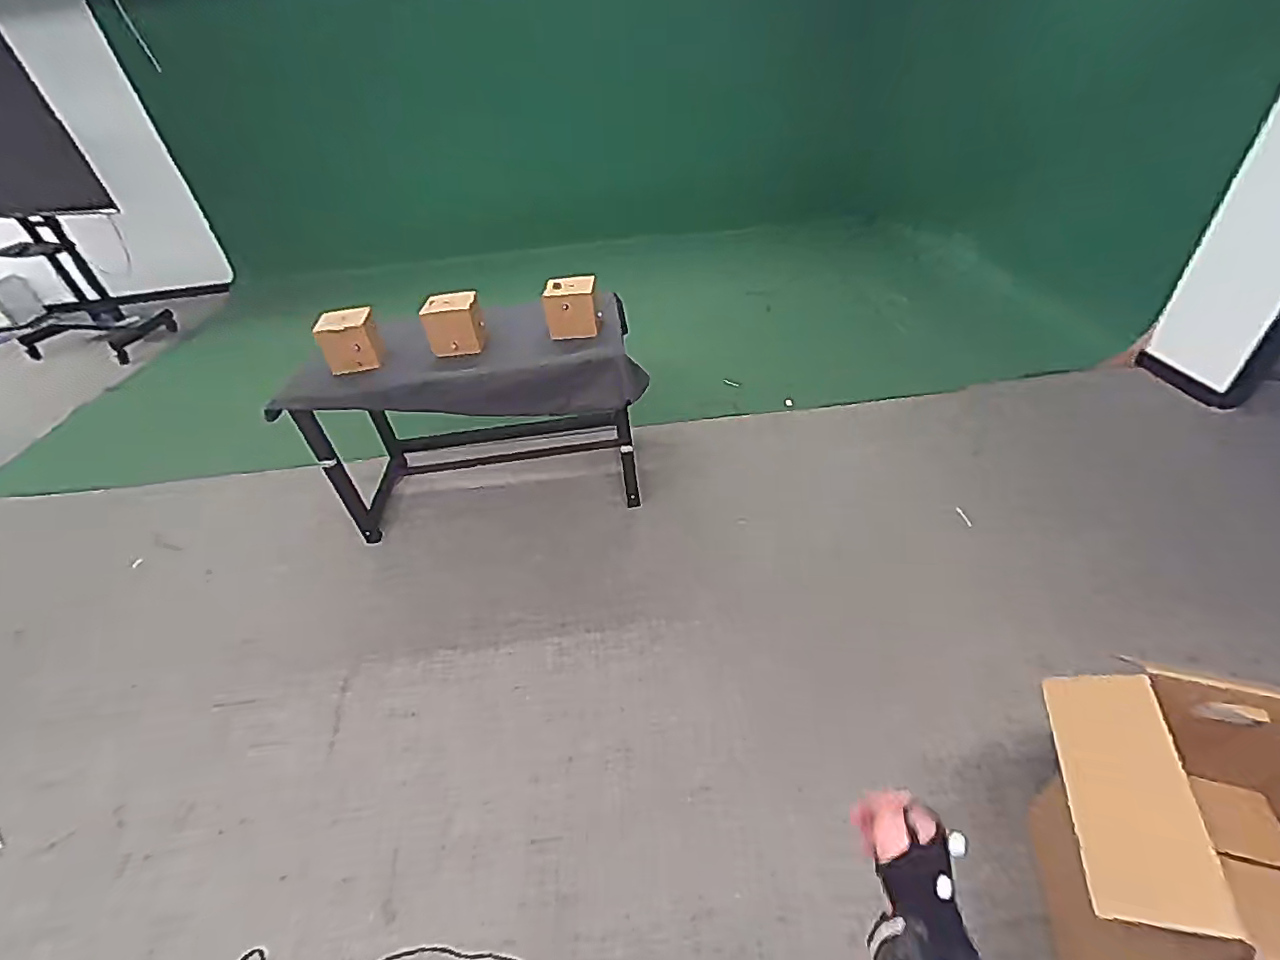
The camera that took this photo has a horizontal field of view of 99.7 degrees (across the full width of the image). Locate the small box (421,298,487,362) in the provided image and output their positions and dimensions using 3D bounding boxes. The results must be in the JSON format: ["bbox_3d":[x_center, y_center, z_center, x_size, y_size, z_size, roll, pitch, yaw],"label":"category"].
[{"bbox_3d":[-0.675,-0.551,1.988,0.179,0.176,0.168,-6,39,1],"label":"small box"}]

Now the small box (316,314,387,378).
[{"bbox_3d":[-1.037,-0.480,1.958,0.168,0.176,0.179,-12,37,-8],"label":"small box"}]

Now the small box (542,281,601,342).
[{"bbox_3d":[-0.249,-0.621,2.004,0.179,0.176,0.168,-3,40,4],"label":"small box"}]
